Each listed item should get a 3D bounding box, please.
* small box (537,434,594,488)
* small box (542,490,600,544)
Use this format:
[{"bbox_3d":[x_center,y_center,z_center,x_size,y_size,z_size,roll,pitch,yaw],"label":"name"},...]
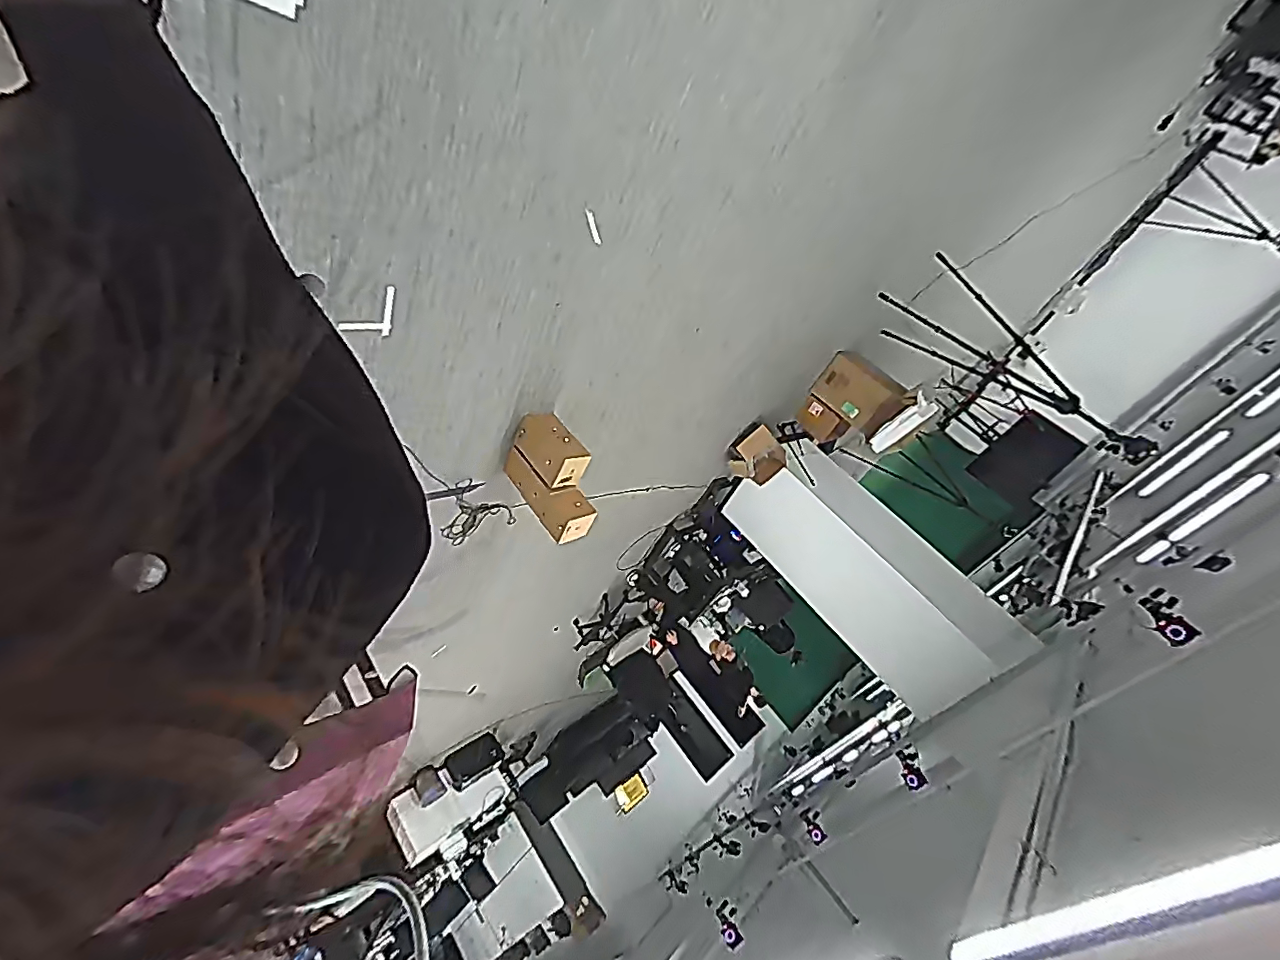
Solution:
[{"bbox_3d":[-0.345,-0.091,2.460,0.168,0.176,0.179,-11,139,-50],"label":"small box"},{"bbox_3d":[-0.325,0.166,2.512,0.179,0.176,0.168,-17,145,-45],"label":"small box"}]
